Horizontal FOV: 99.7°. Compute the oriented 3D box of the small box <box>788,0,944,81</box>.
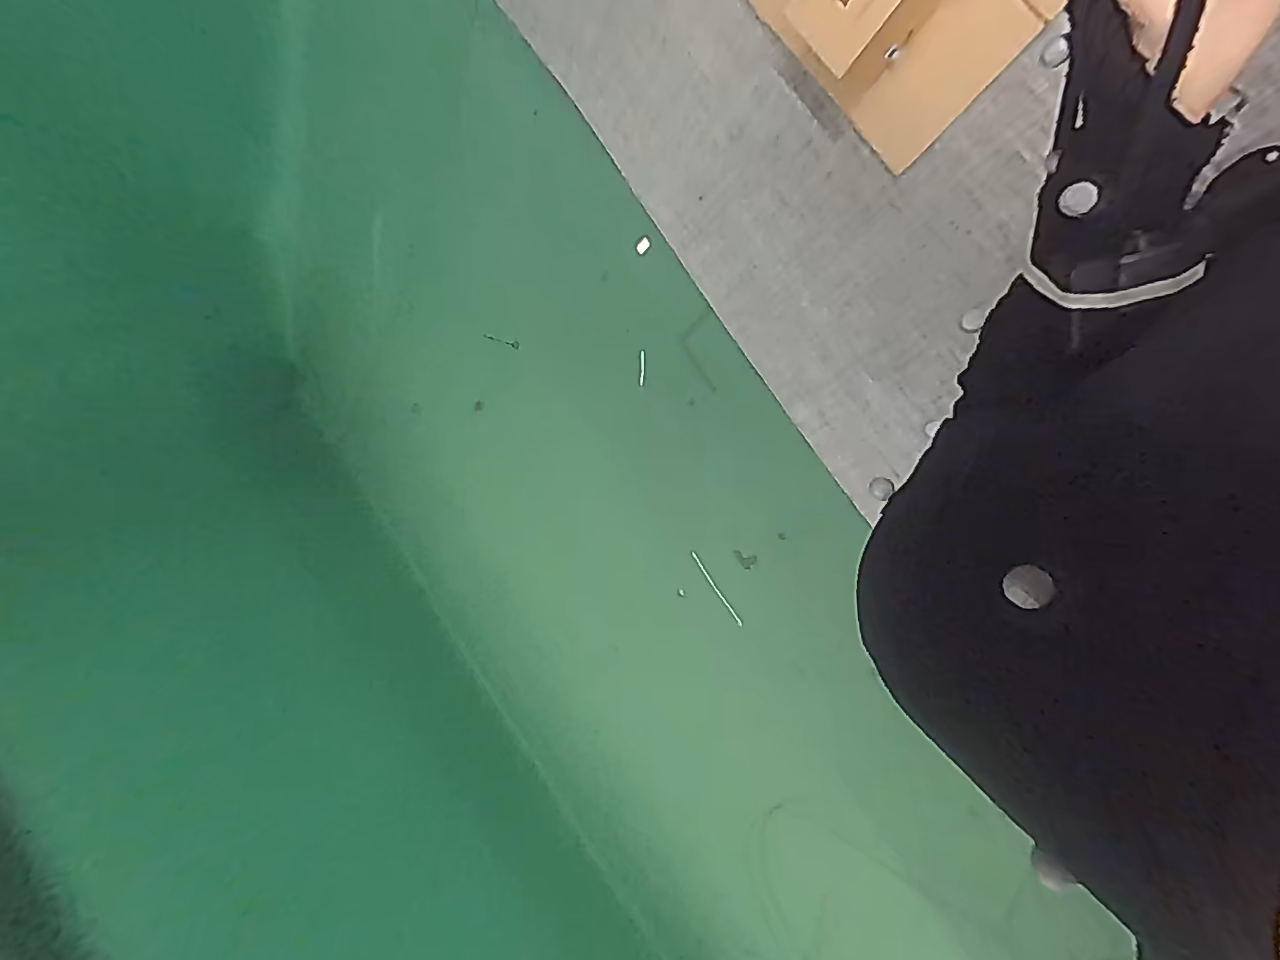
[{"bbox_3d":[0.411,-0.864,0.980,0.179,0.176,0.168,54,138,5],"label":"small box"}]
